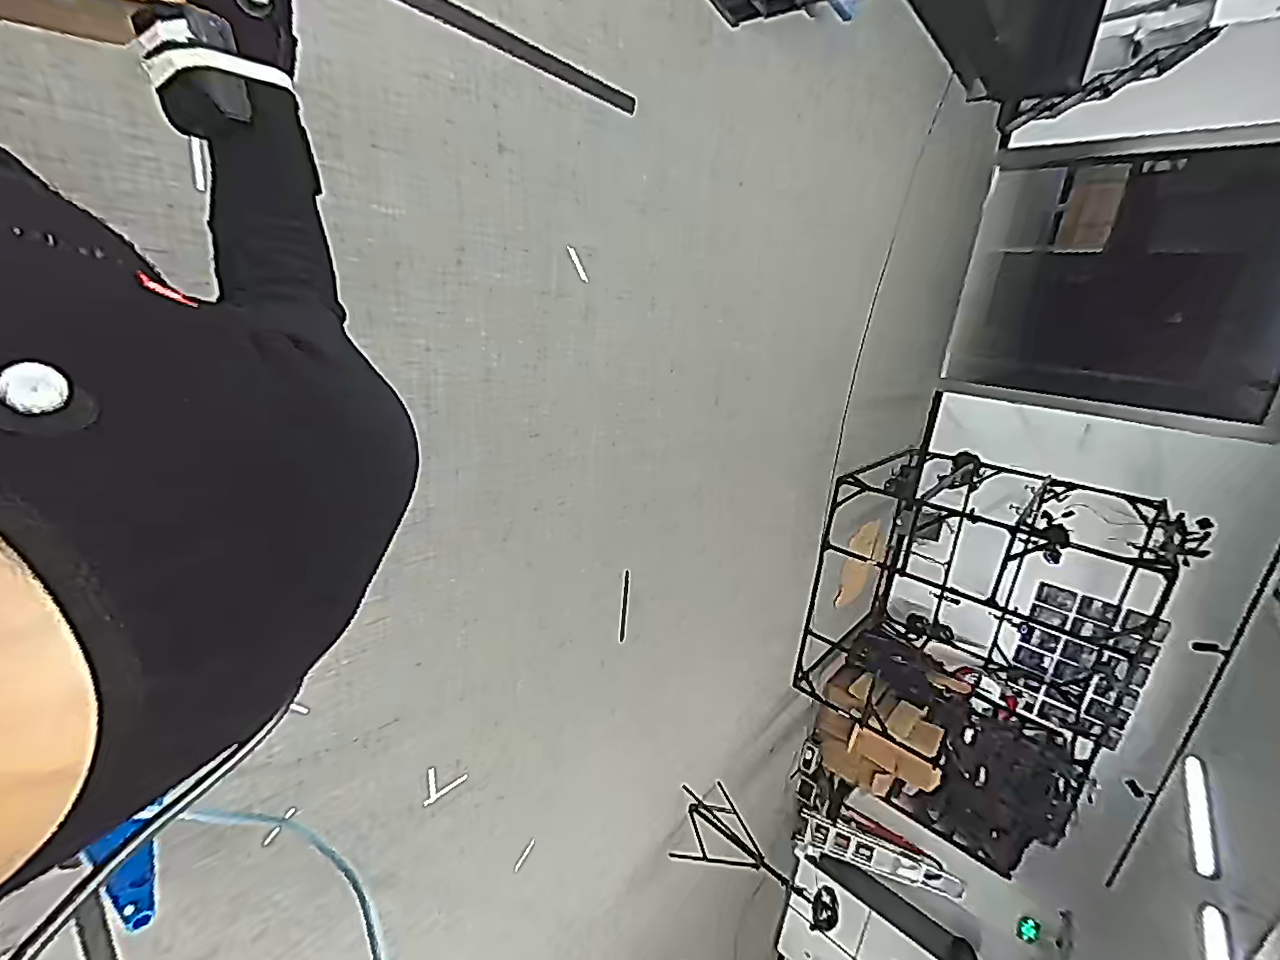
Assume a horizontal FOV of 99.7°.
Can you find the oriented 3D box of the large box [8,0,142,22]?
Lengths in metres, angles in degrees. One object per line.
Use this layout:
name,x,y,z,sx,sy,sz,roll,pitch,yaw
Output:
large box,-0.536,-0.479,0.252,0.408,0.320,0.320,-21,129,-44
